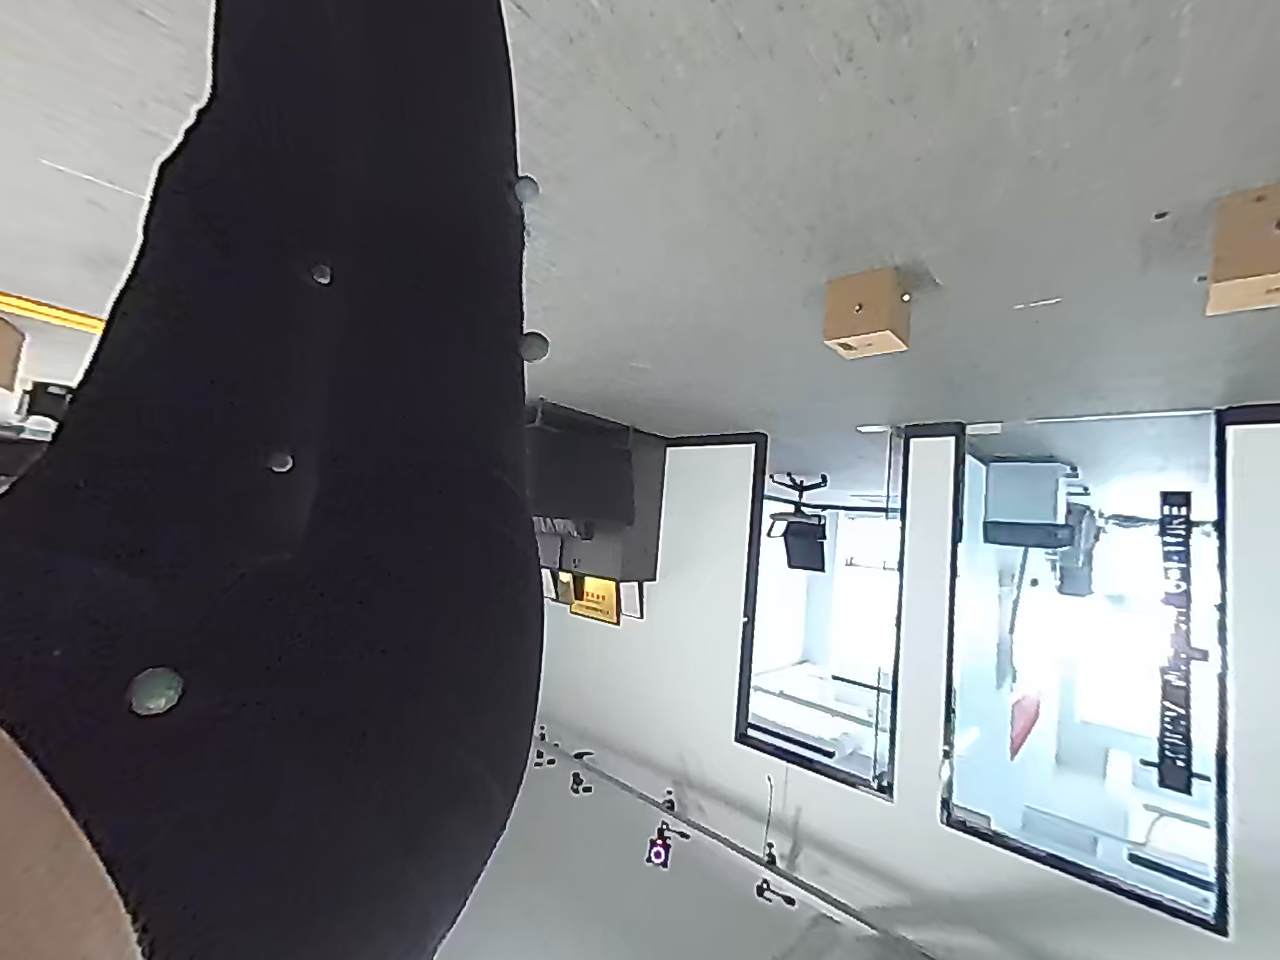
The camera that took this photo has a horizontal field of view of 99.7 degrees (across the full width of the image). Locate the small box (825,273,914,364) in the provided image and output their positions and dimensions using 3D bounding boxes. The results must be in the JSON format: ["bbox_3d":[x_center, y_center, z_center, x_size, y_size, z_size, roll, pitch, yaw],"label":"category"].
[{"bbox_3d":[0.617,-0.426,1.445,0.179,0.176,0.168,0,173,43],"label":"small box"}]

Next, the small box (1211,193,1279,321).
[{"bbox_3d":[1.174,-0.415,0.990,0.168,0.176,0.179,1,174,44],"label":"small box"}]
